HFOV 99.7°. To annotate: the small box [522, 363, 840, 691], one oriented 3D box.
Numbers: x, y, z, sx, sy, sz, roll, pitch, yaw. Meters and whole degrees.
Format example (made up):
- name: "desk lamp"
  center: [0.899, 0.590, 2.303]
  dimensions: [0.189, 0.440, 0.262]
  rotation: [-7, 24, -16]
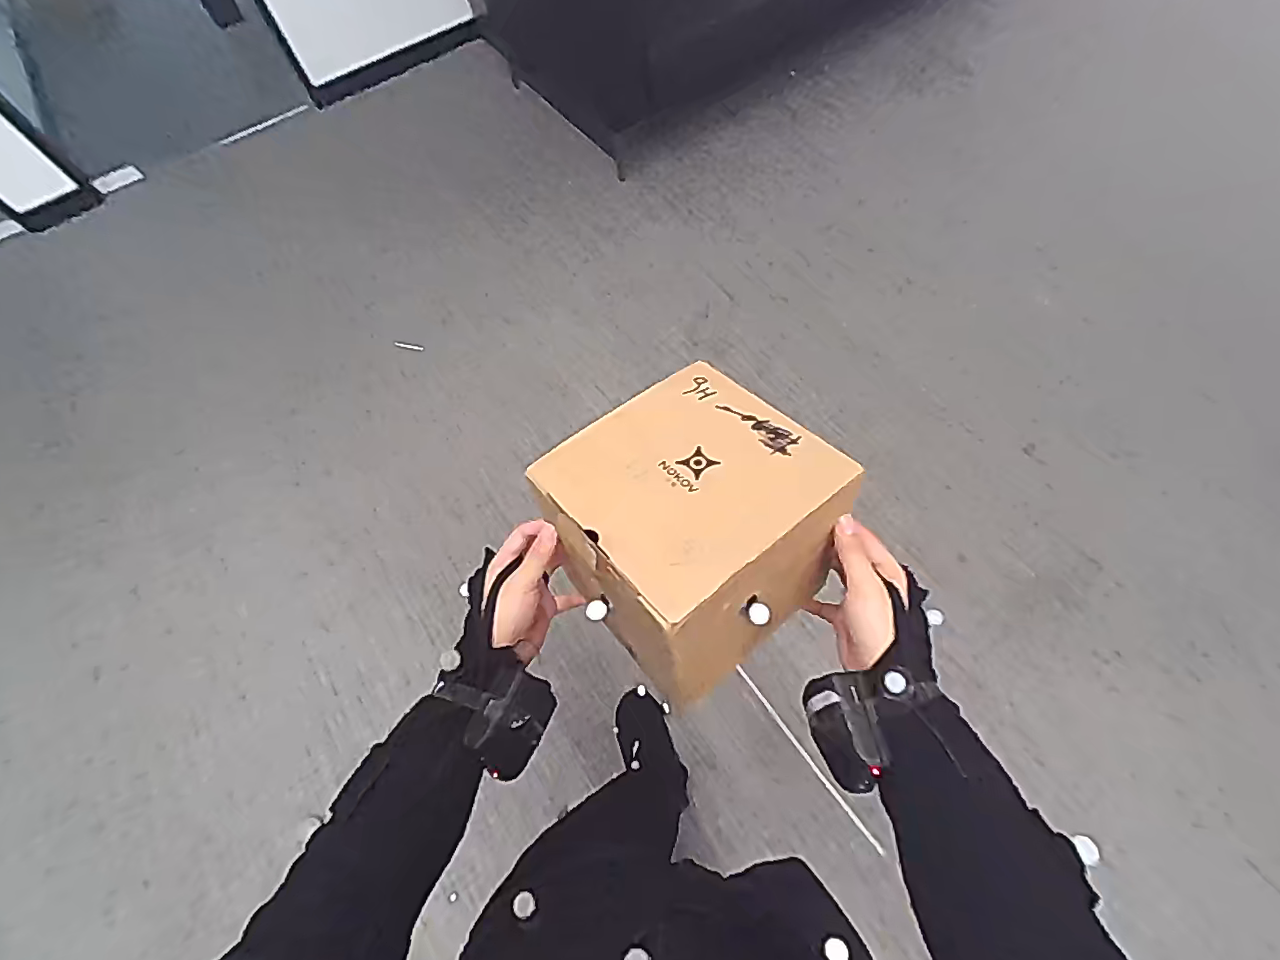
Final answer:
- name: "small box"
  center: [0.035, 0.042, 0.451]
  dimensions: [0.179, 0.176, 0.168]
  rotation: [-36, 56, -19]
